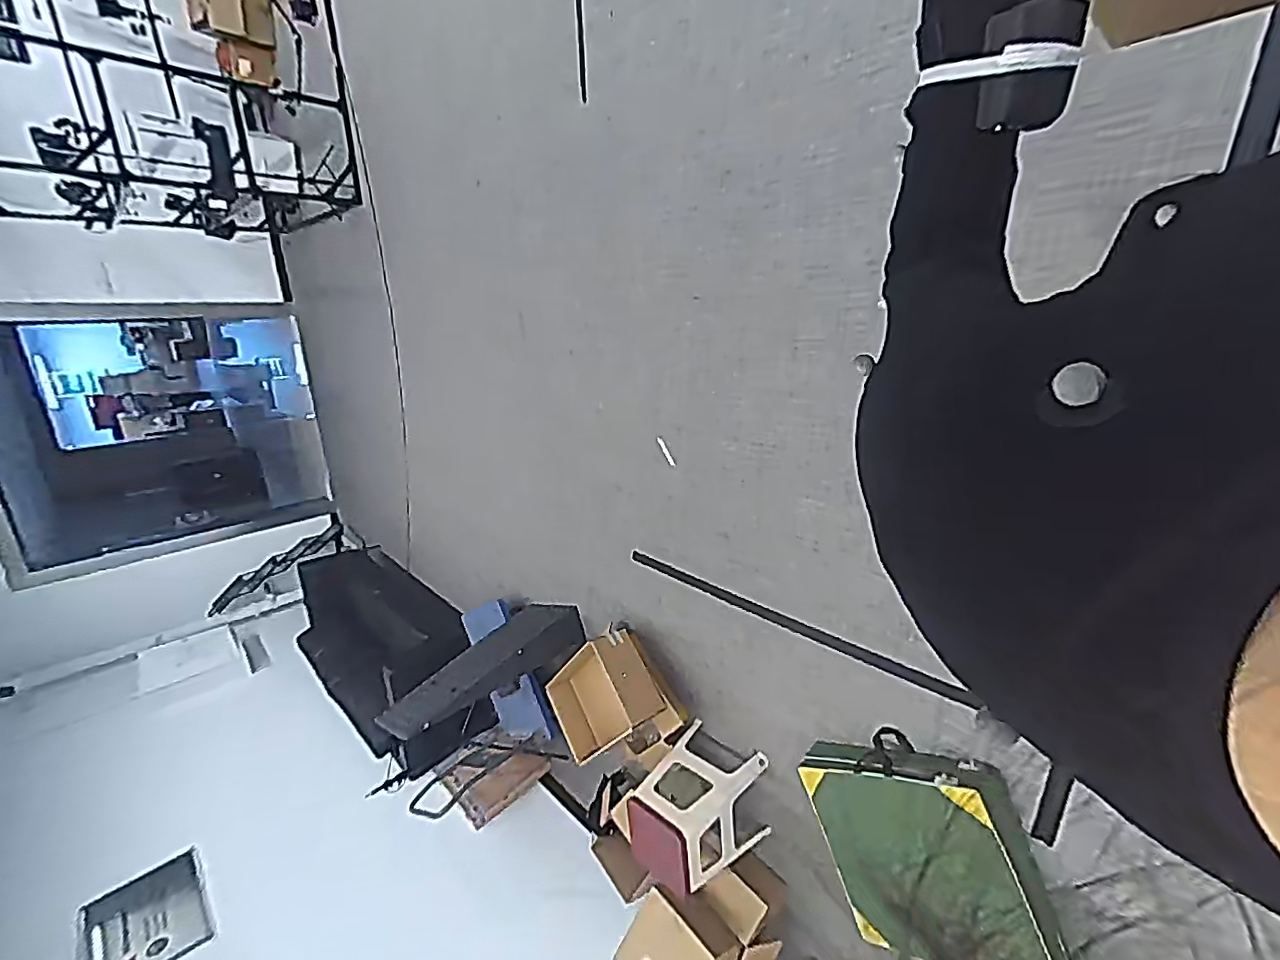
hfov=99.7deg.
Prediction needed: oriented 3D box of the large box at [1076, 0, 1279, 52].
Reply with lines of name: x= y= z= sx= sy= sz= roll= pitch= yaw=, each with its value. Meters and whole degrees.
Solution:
large box: x=0.461 y=-0.467 z=0.232 sx=0.408 sy=0.320 sz=0.320 roll=13 pitch=118 yaw=43
